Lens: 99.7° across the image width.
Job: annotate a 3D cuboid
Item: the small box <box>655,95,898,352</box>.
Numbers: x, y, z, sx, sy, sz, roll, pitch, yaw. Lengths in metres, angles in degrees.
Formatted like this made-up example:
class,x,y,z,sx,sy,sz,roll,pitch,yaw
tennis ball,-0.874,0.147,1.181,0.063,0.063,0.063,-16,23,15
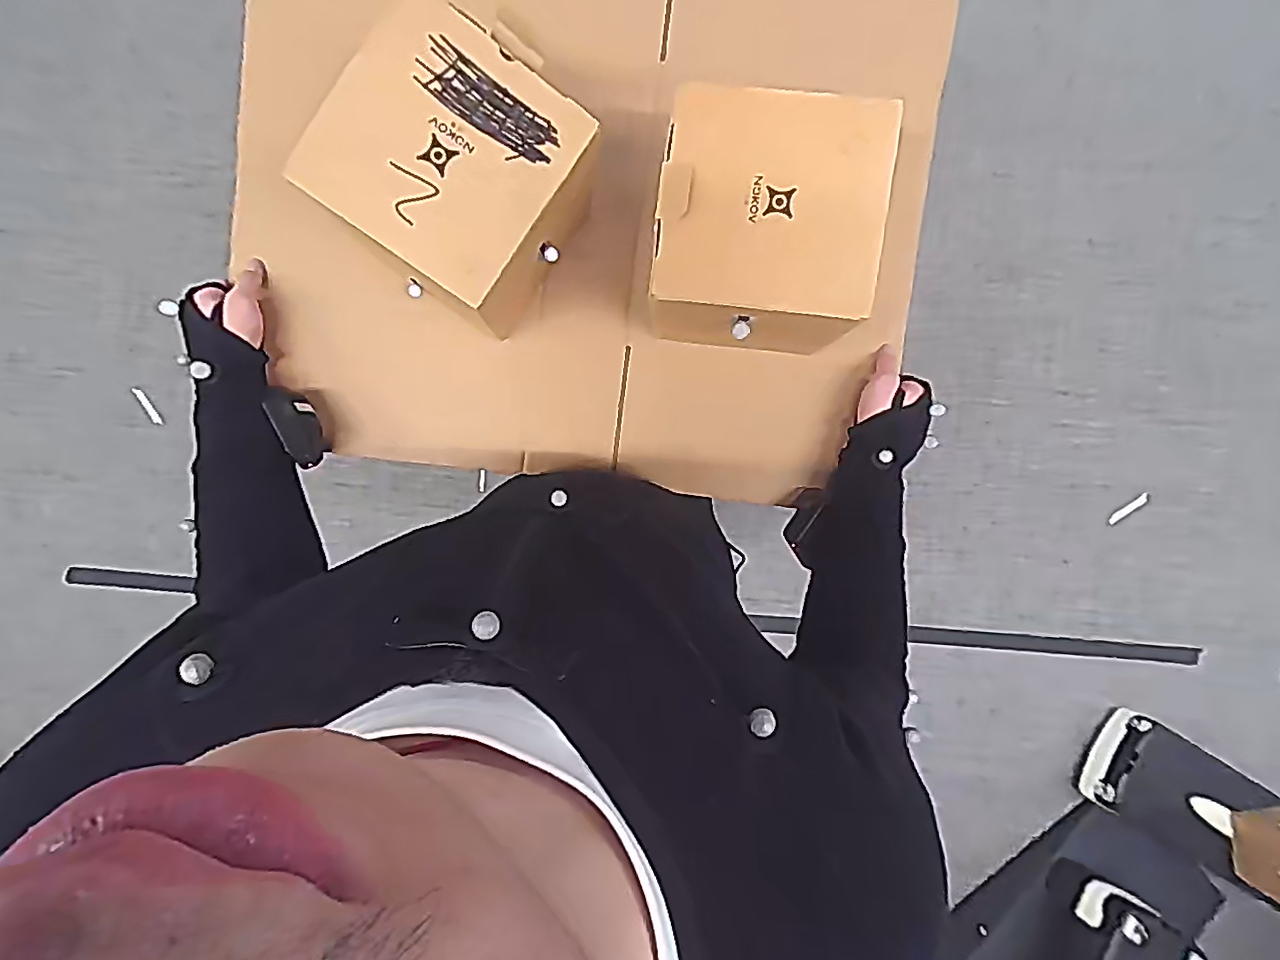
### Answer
class,x,y,z,sx,sy,sz,roll,pitch,yaw
small box,0.113,-0.223,0.514,0.179,0.176,0.168,7,94,4
